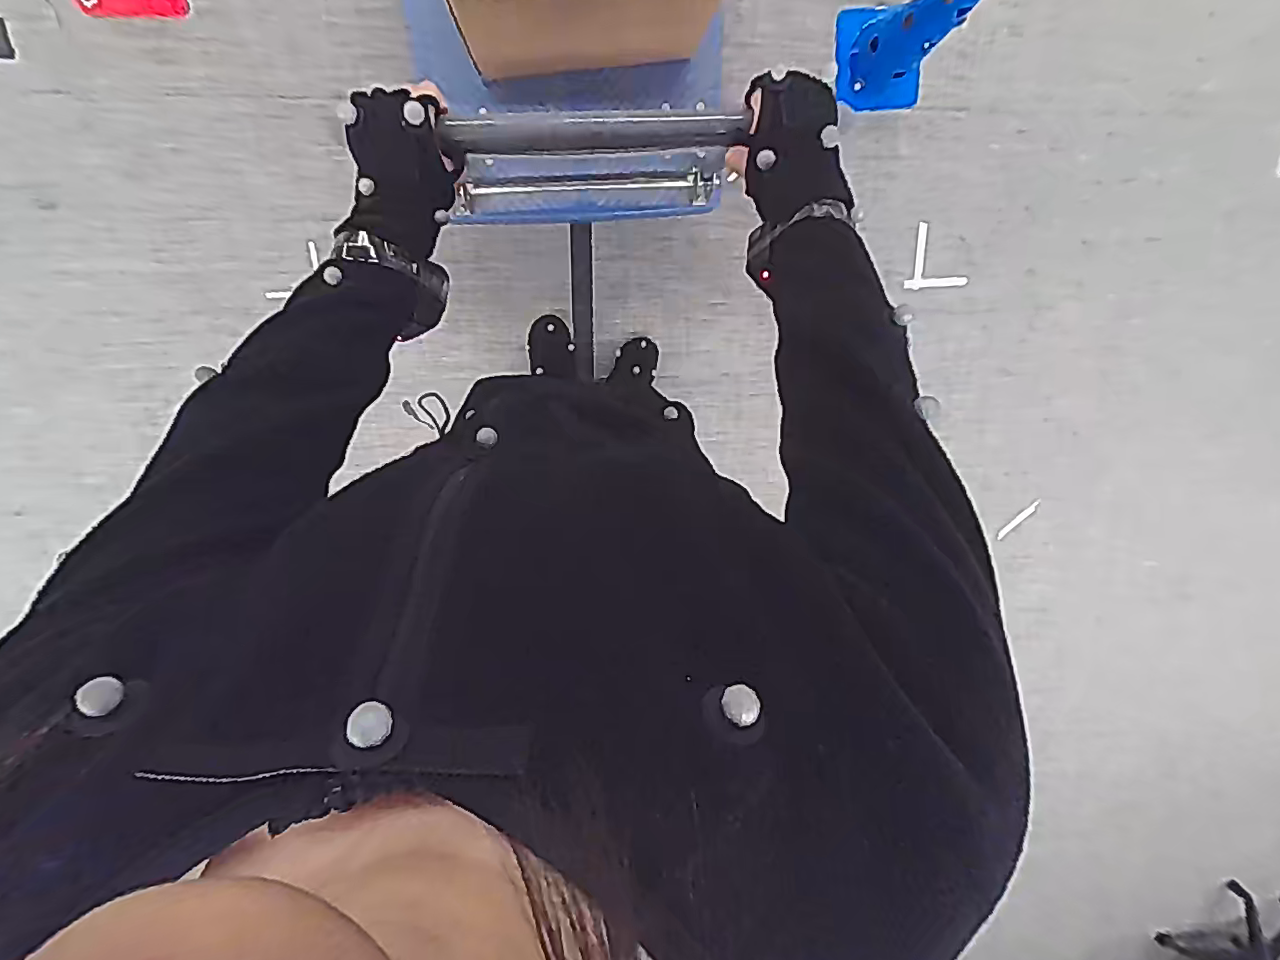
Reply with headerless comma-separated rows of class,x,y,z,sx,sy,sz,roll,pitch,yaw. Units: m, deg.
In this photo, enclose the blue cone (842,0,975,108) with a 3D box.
blue cone,0.567,-0.905,1.067,0.193,0.380,0.192,-6,108,-5
